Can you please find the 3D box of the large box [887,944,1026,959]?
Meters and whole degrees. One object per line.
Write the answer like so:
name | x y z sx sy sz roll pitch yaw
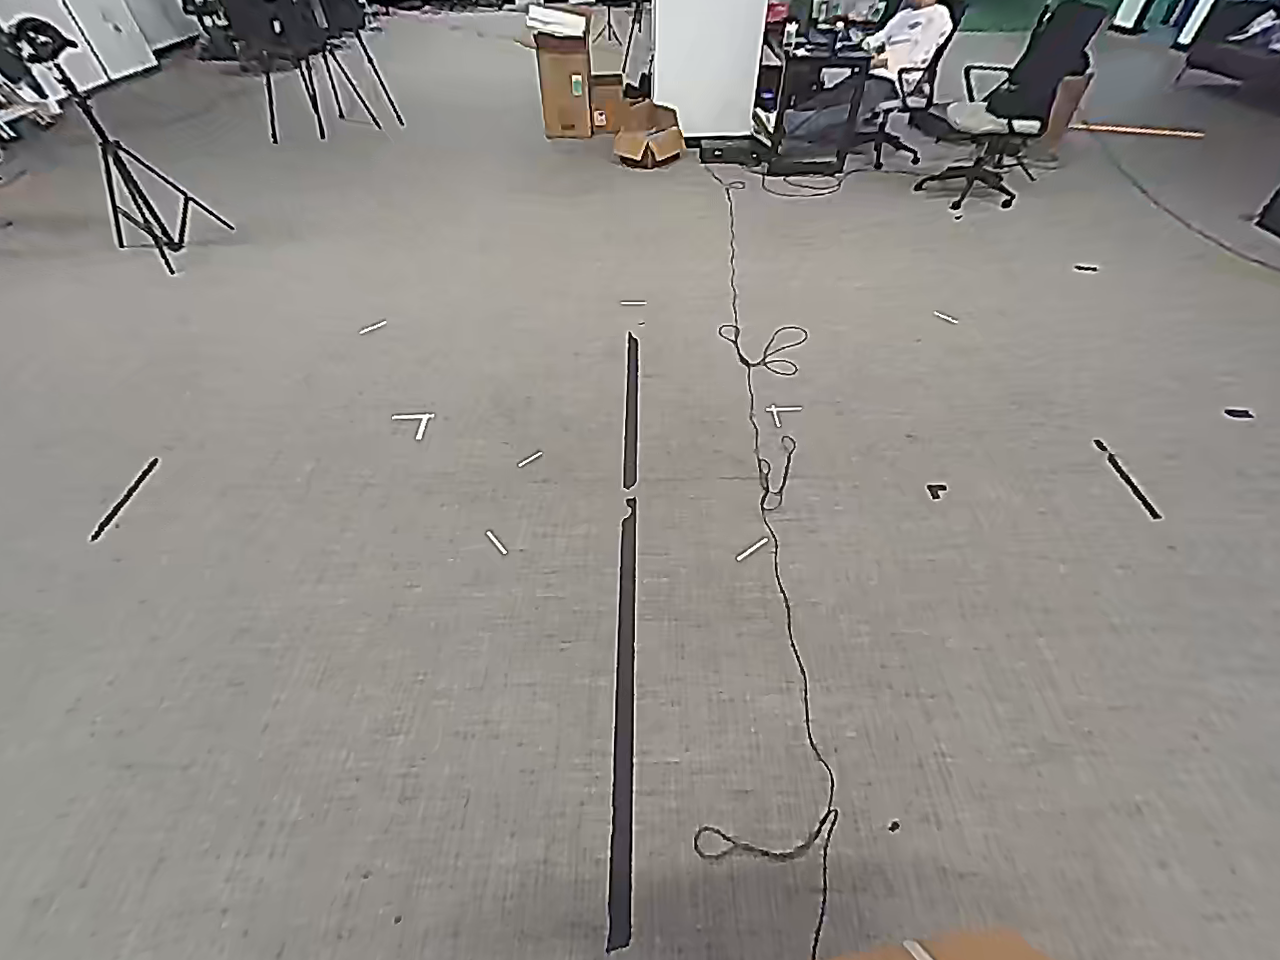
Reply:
large box | 0.423 0.796 0.559 0.320 0.408 0.320 -5 78 -6
